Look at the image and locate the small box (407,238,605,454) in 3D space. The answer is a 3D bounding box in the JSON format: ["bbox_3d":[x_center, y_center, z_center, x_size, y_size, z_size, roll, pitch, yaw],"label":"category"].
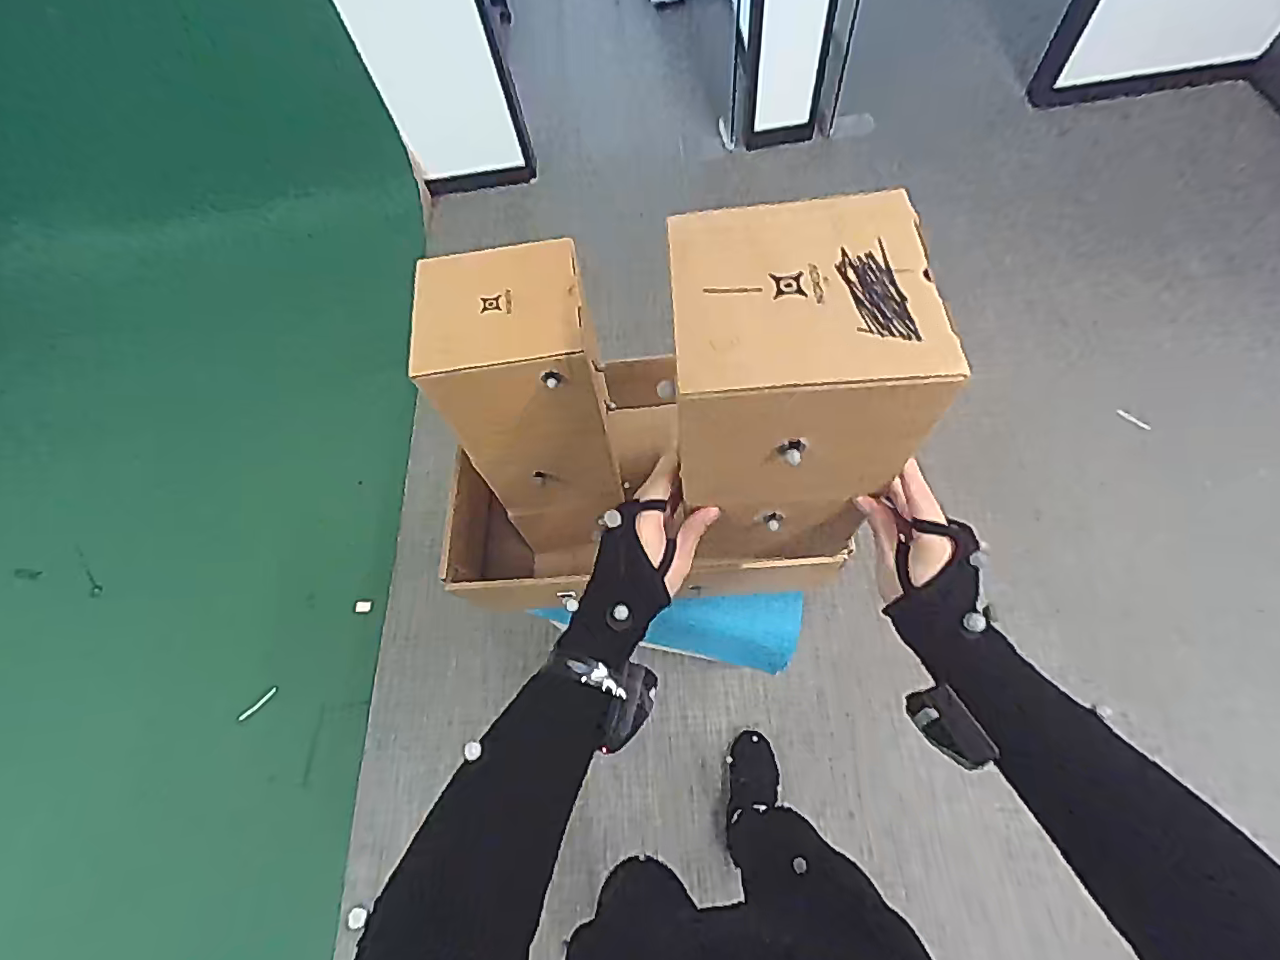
[{"bbox_3d":[-0.145,-0.146,0.630,0.179,0.176,0.168,-9,63,0],"label":"small box"}]

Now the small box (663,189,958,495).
[{"bbox_3d":[0.111,-0.097,0.435,0.179,0.176,0.168,-4,64,5],"label":"small box"}]

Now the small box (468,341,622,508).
[{"bbox_3d":[-0.129,-0.072,0.775,0.179,0.176,0.168,-9,64,1],"label":"small box"}]

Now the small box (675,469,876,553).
[{"bbox_3d":[0.127,-0.025,0.581,0.179,0.176,0.168,-3,63,4],"label":"small box"}]
